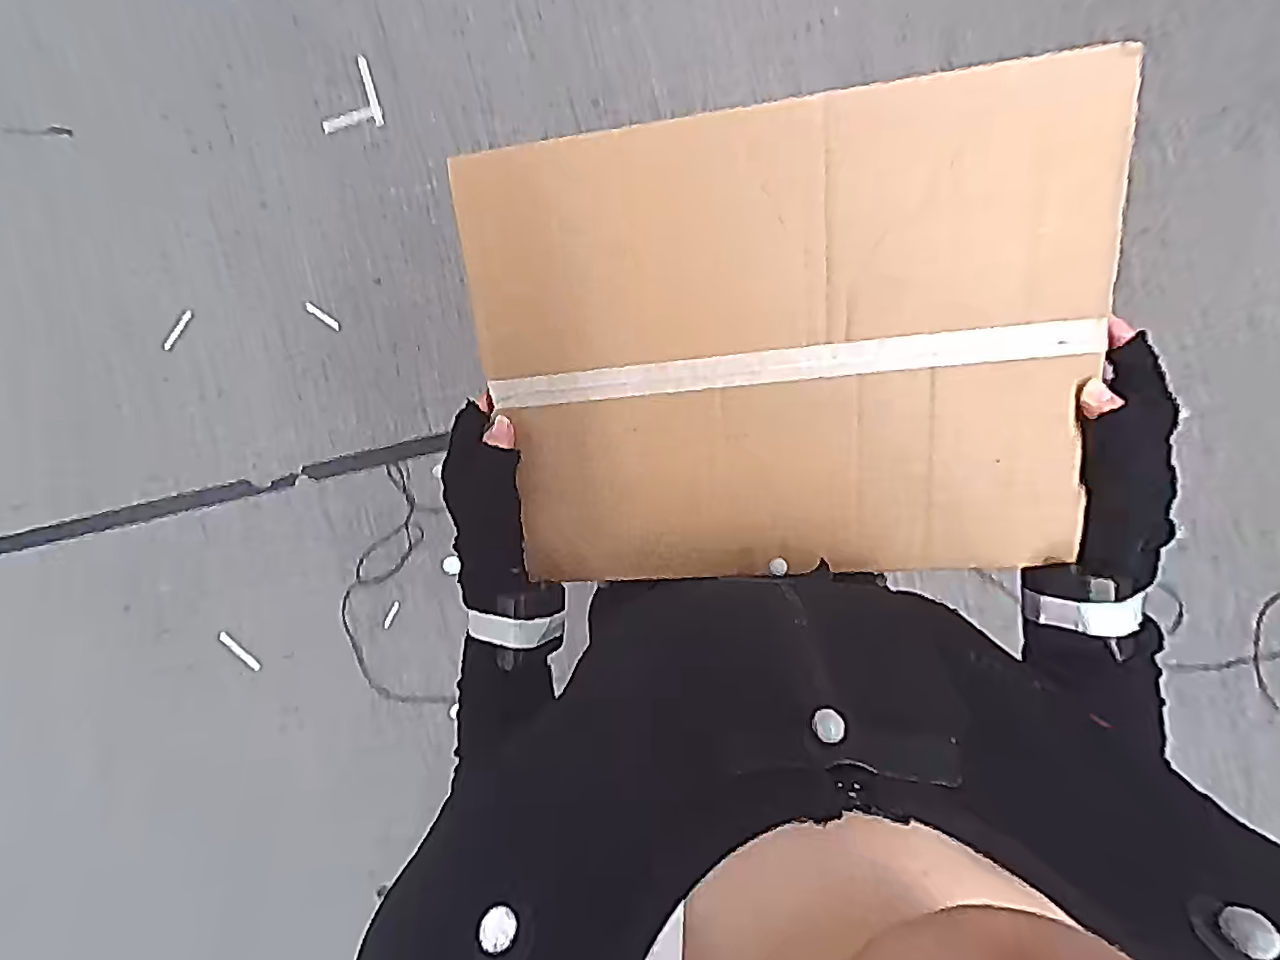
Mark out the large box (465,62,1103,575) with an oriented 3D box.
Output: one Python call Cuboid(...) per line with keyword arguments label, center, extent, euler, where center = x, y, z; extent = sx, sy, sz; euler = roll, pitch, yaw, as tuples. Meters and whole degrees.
Cuboid(label="large box", center=(0.108, -0.123, 0.524), extent=(0.408, 0.320, 0.320), euler=(-4, 108, 9))
